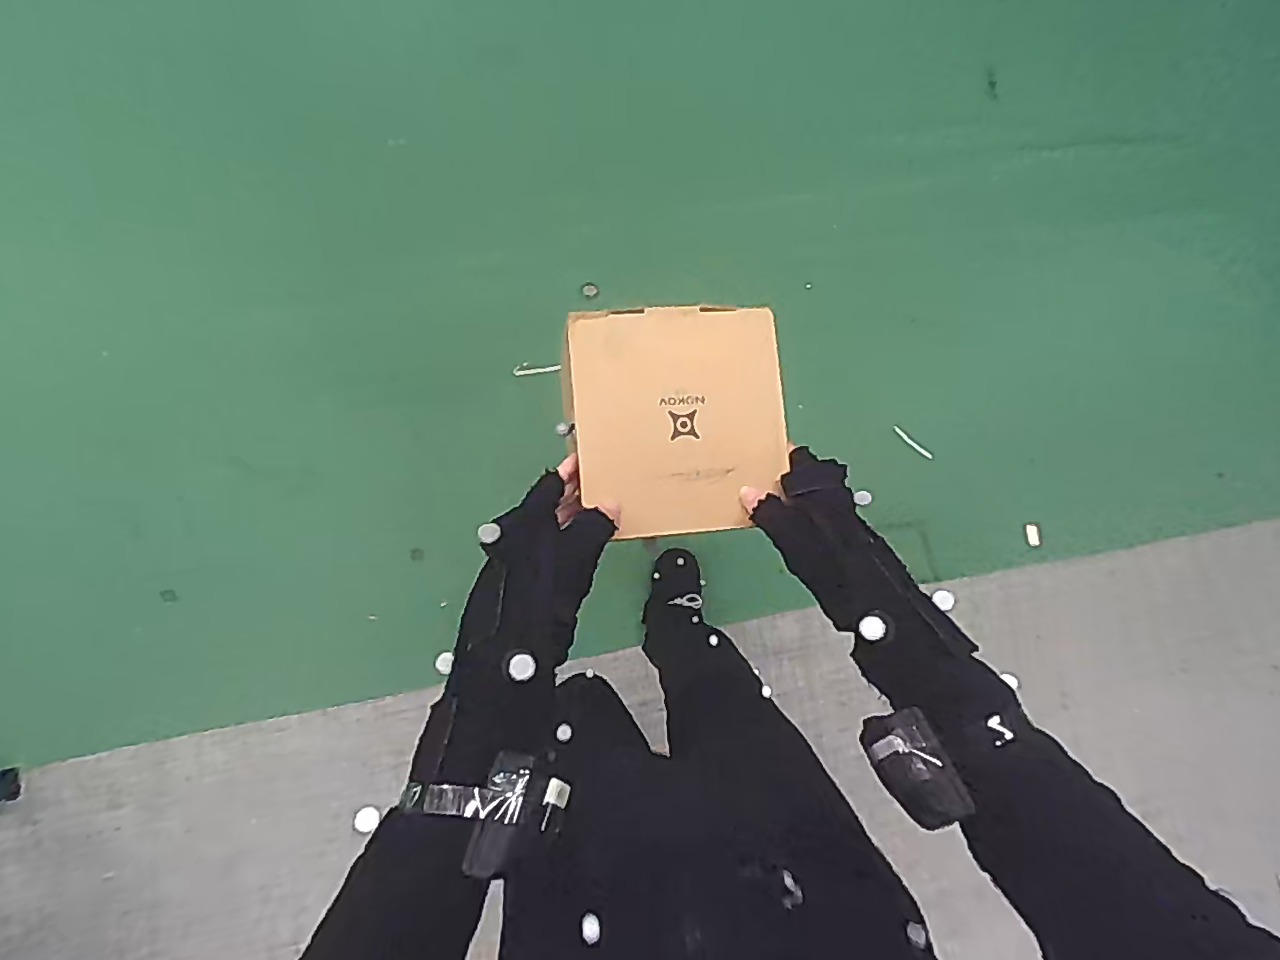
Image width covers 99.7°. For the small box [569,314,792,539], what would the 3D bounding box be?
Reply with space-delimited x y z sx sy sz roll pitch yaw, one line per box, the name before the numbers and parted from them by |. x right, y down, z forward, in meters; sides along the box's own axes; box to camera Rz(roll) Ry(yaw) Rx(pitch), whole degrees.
small box | 0.023 -0.039 0.507 0.168 0.176 0.179 -5 87 -9
